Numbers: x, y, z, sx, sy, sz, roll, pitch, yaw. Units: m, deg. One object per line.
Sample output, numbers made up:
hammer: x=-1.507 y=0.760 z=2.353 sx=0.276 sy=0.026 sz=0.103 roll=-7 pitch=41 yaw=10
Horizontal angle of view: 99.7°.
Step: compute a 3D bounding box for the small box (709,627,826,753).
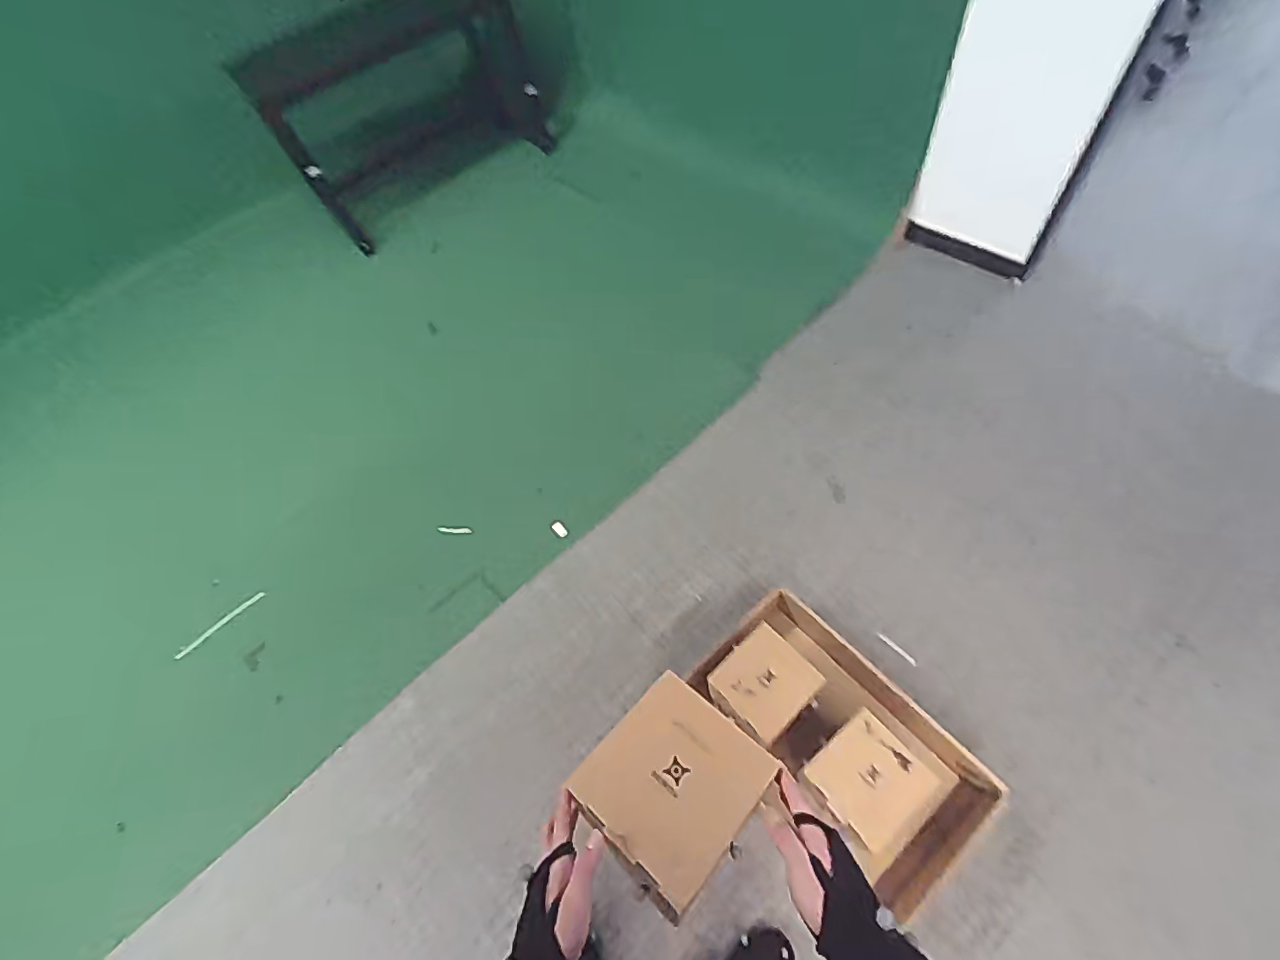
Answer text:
small box: x=0.265 y=0.451 z=1.153 sx=0.179 sy=0.176 sz=0.168 roll=-39 pitch=60 yaw=-14
